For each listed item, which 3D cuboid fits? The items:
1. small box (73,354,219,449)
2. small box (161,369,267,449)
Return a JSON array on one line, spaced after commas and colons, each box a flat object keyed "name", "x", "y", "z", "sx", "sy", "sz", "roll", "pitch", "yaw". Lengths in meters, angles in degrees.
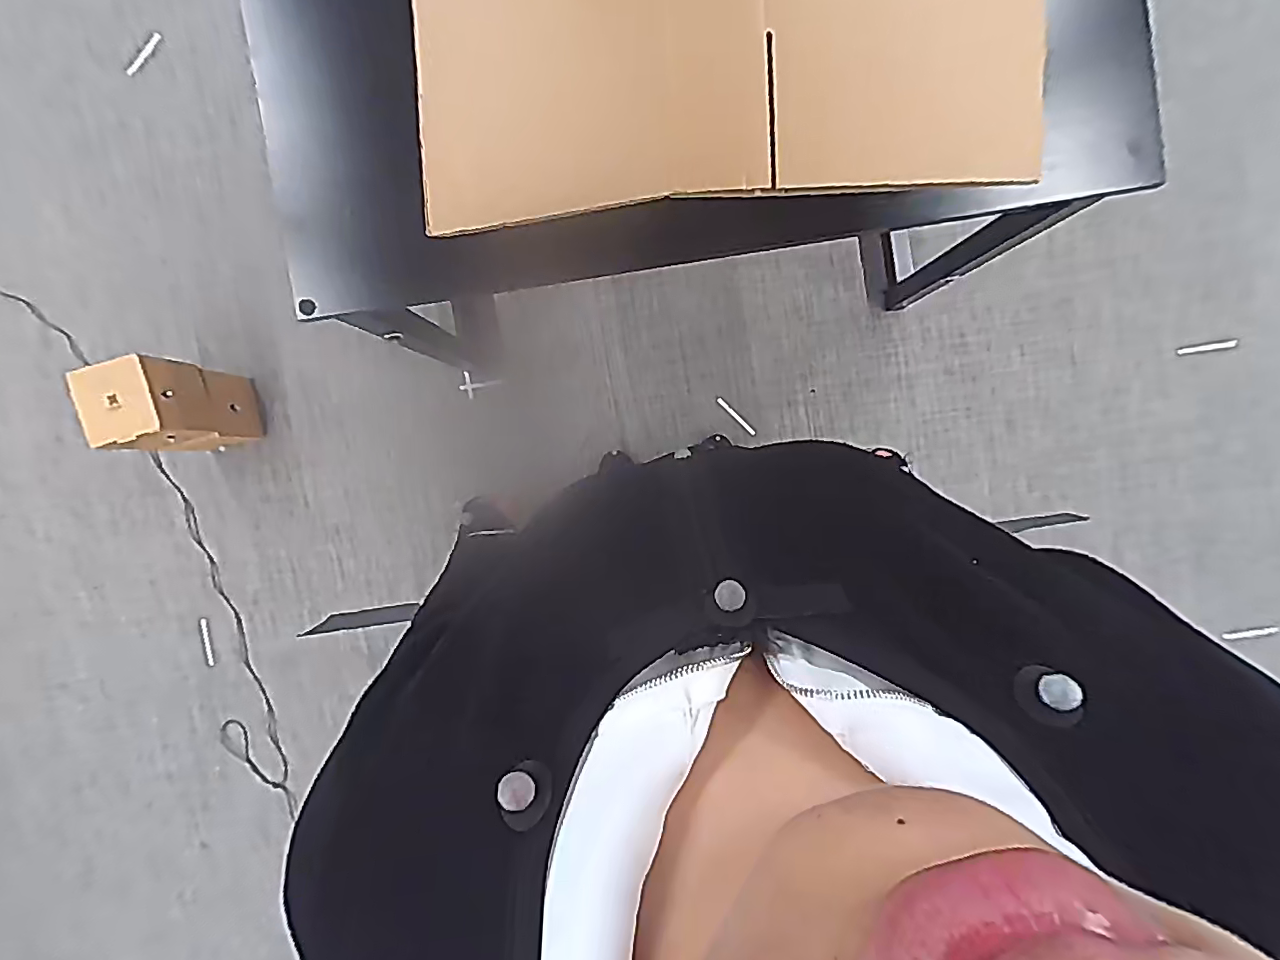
[{"name": "small box", "x": -1.138, "y": -0.177, "z": 1.262, "sx": 0.168, "sy": 0.176, "sz": 0.179, "roll": -16, "pitch": 92, "yaw": 1}, {"name": "small box", "x": -1.133, "y": -0.180, "z": 1.424, "sx": 0.168, "sy": 0.176, "sz": 0.179, "roll": -12, "pitch": 94, "yaw": 2}]
